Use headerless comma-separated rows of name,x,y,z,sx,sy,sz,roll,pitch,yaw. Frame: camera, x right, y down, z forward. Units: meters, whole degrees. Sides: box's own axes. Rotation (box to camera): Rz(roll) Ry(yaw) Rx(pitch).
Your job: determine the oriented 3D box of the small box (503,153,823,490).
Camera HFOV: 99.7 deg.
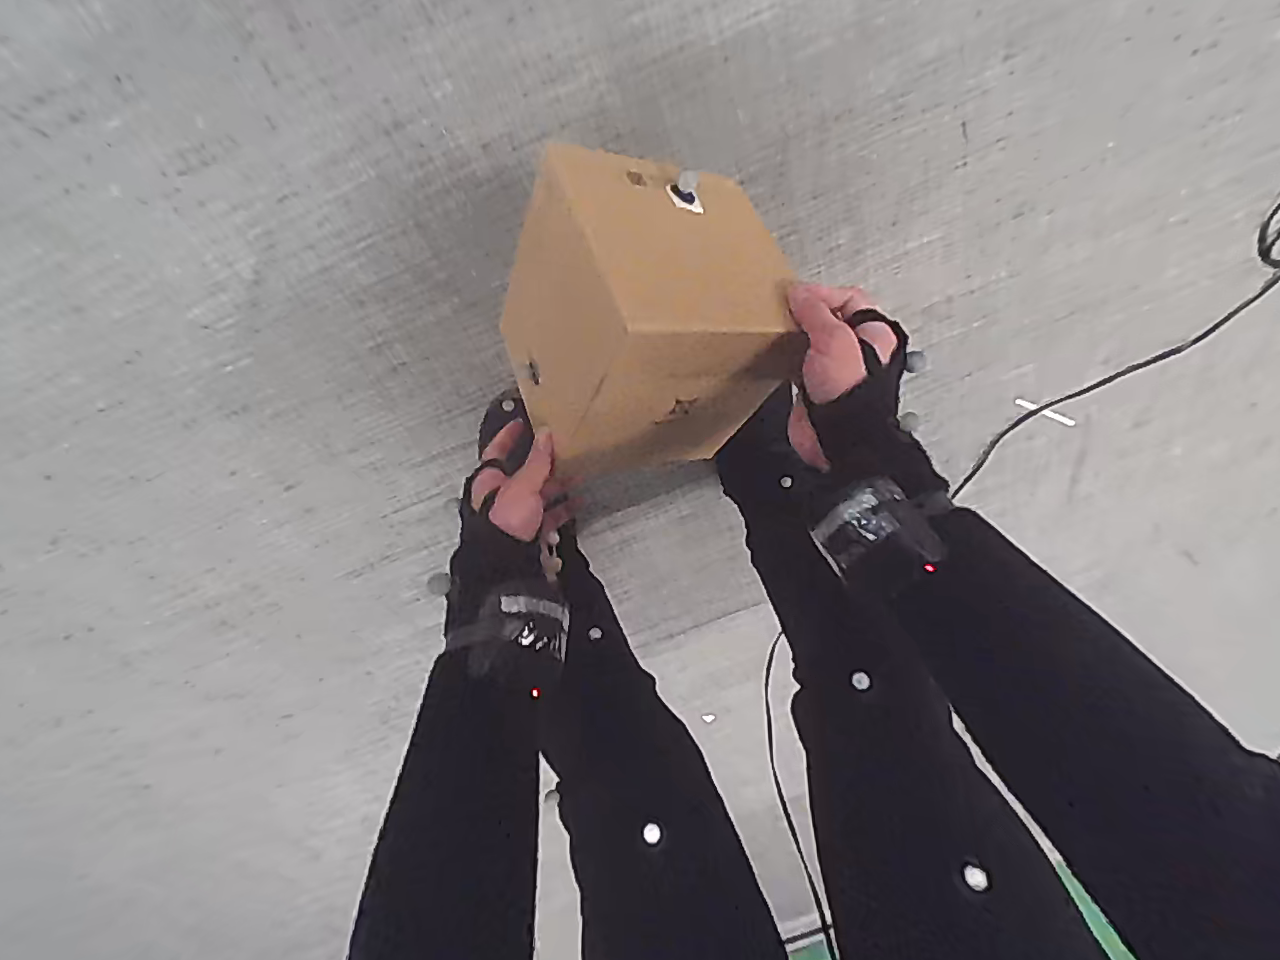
small box,0.000,-0.114,0.431,0.168,0.176,0.179,-10,155,-31
